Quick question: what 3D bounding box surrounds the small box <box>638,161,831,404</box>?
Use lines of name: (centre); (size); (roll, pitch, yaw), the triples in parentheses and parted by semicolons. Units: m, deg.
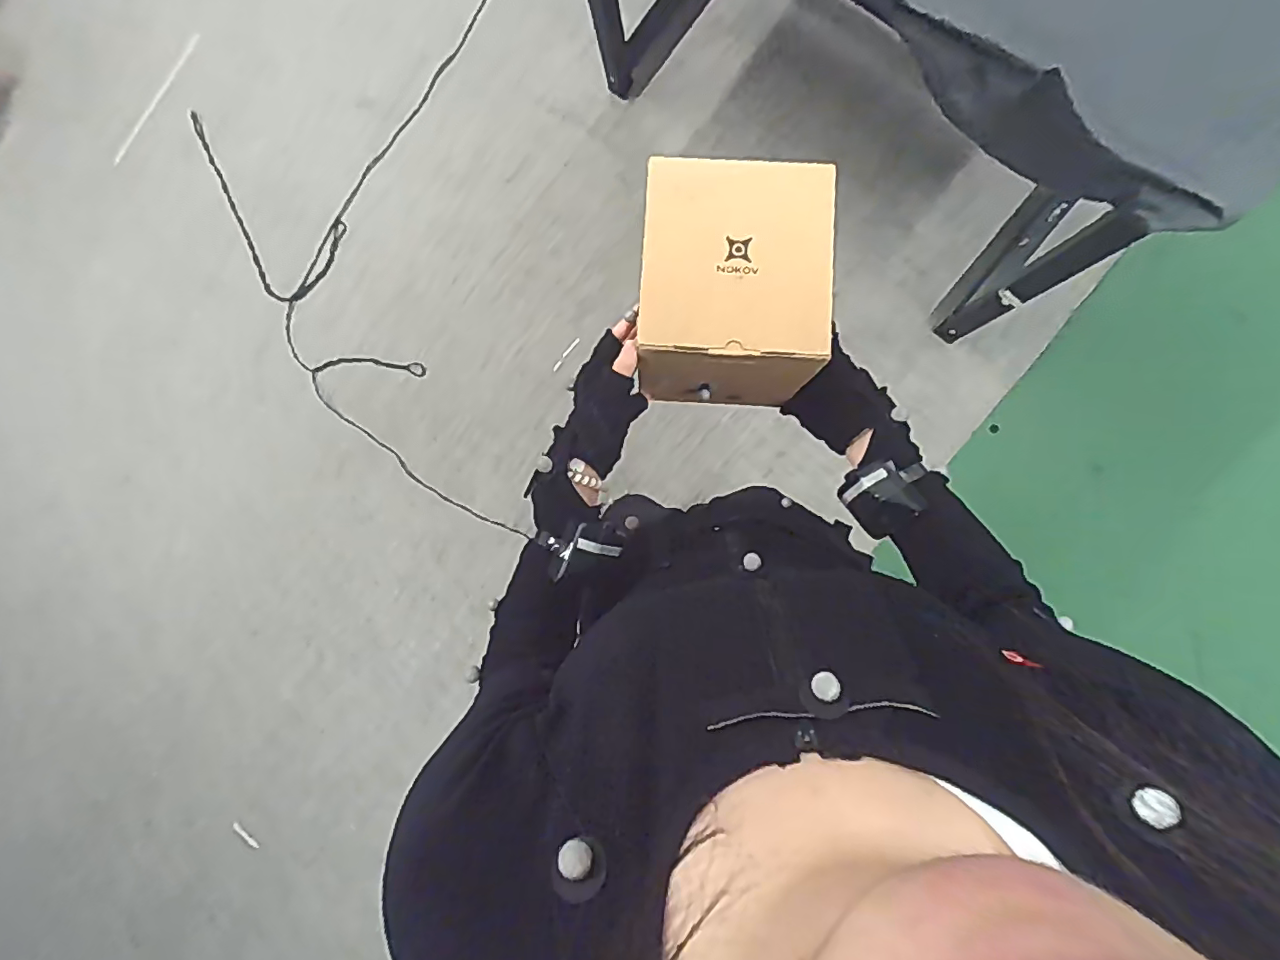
small box: (0.085, -0.188, 0.557); (0.168, 0.176, 0.179); (4, 85, 1)
